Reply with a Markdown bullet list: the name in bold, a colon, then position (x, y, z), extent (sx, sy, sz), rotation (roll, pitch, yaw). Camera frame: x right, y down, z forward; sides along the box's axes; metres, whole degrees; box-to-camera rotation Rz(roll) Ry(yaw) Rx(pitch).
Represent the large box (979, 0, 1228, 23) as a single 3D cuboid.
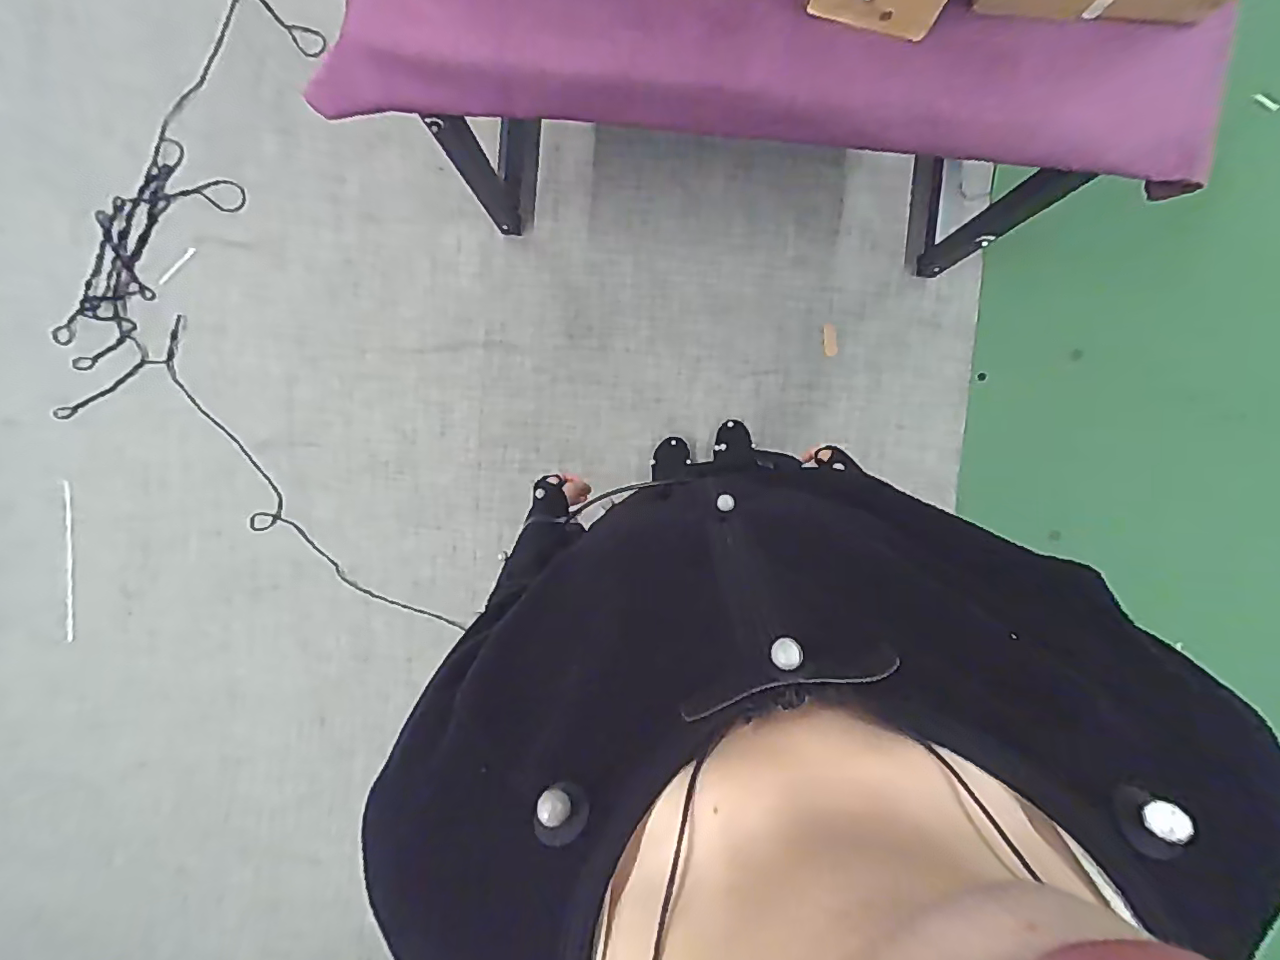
- **large box**: position (0.614, -0.812, 0.569), extent (0.320, 0.320, 0.408), rotation (5, 94, 3)
